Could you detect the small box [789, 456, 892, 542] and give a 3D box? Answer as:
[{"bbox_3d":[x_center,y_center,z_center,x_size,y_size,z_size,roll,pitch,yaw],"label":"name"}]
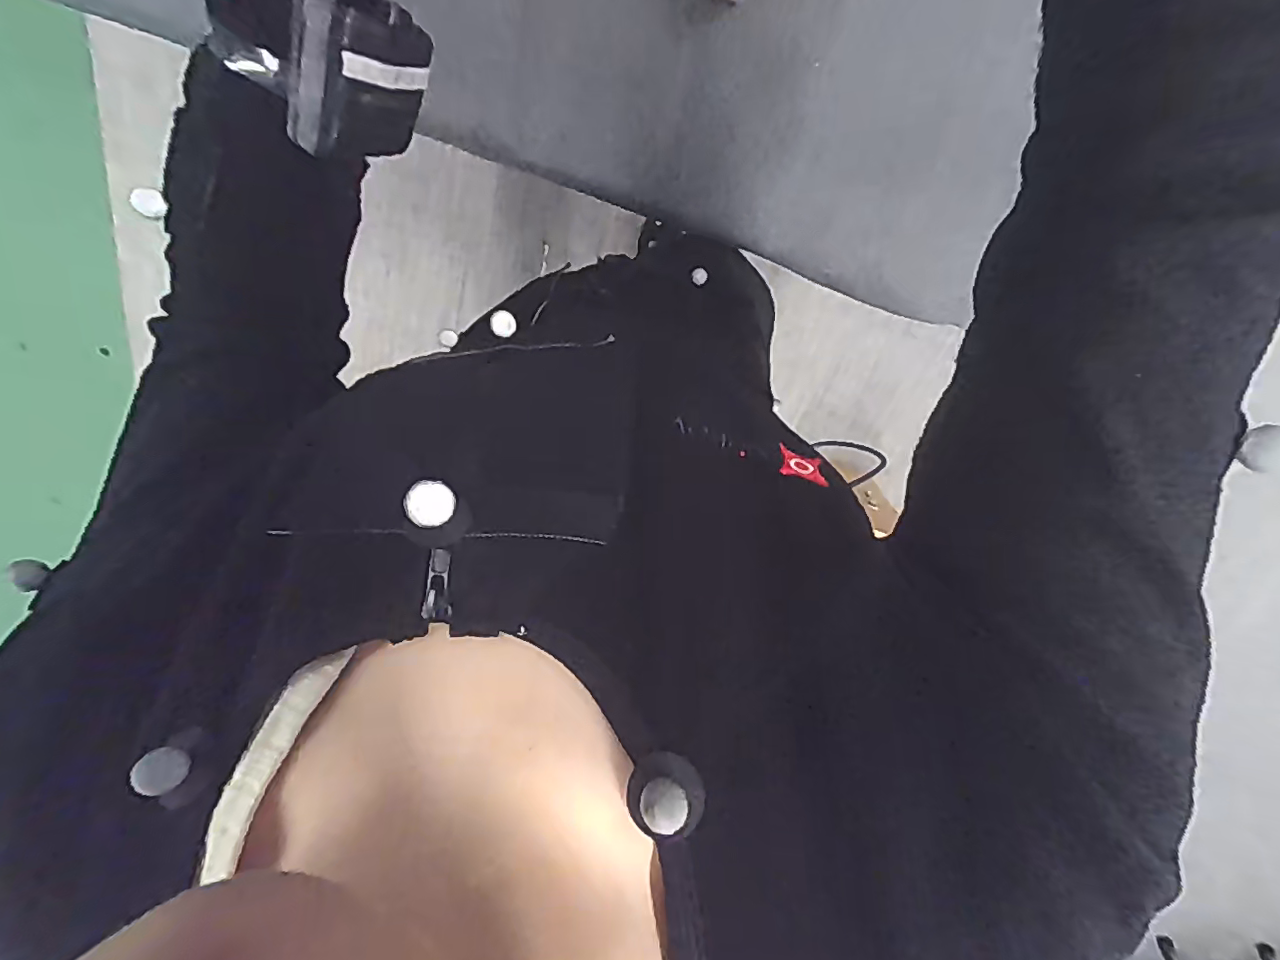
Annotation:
[{"bbox_3d":[0.490,0.069,1.355,0.168,0.176,0.179,21,118,-5],"label":"small box"}]
